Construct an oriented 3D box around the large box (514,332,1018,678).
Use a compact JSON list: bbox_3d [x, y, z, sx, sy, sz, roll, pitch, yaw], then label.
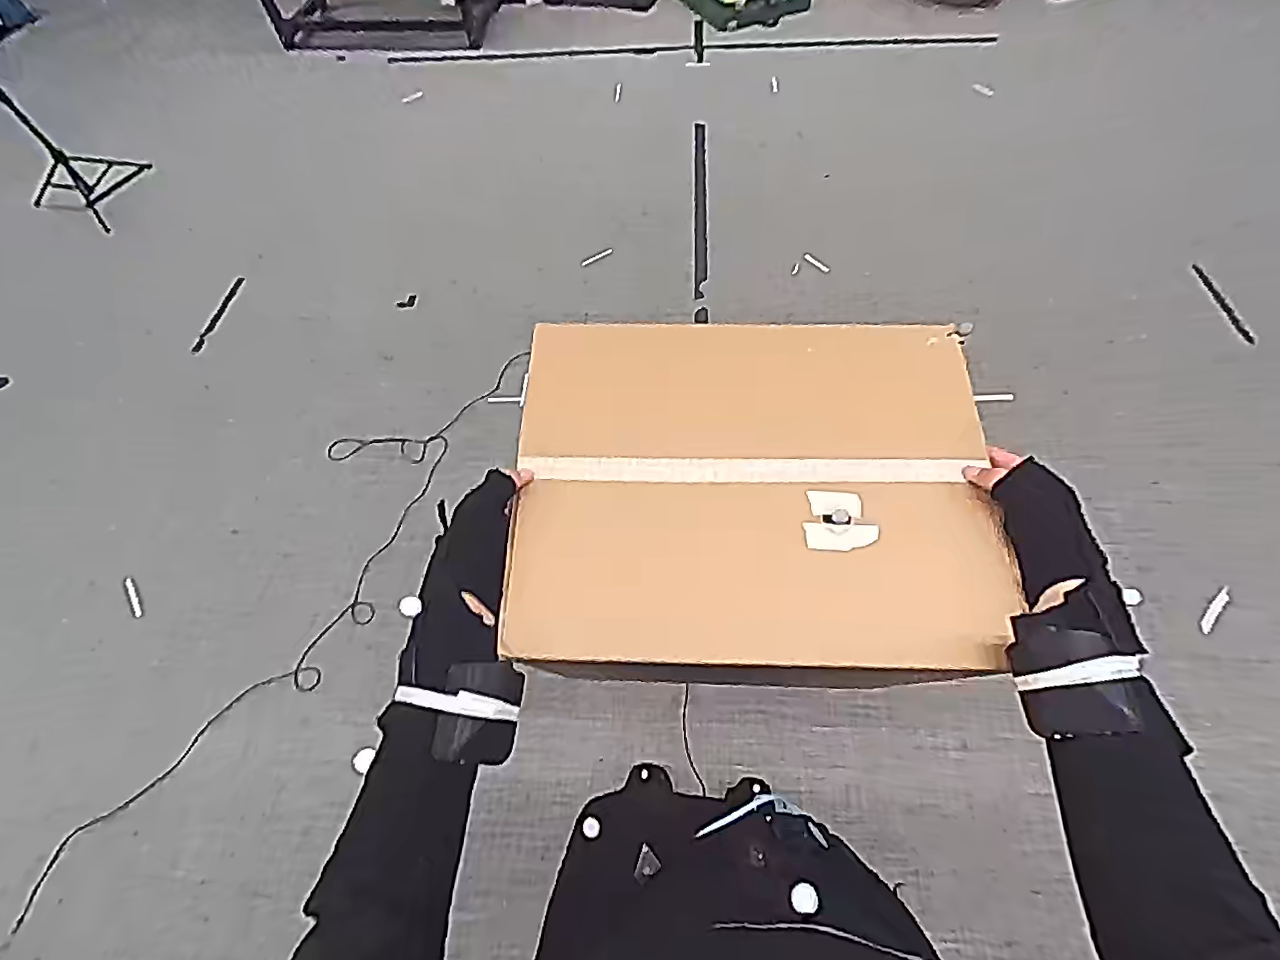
[{"bbox_3d":[0.099,0.052,0.615,0.408,0.320,0.320,1,68,1],"label":"large box"}]
